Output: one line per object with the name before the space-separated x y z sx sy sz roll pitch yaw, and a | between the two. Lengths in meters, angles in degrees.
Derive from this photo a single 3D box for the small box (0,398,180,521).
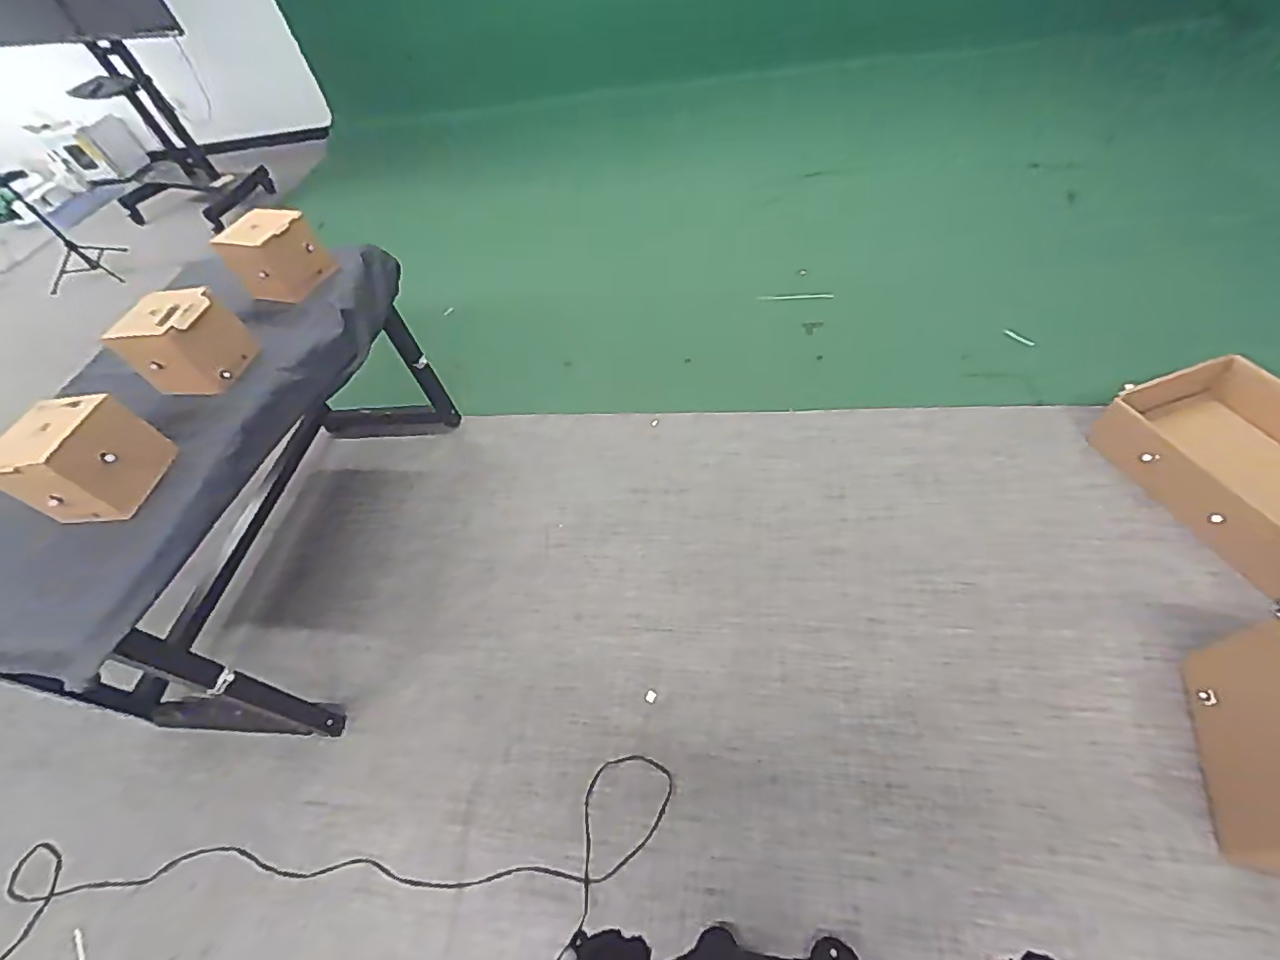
small box | -1.049 -0.031 1.035 0.168 0.176 0.179 -4 53 10

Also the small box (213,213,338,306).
small box | -0.954 -0.582 1.433 0.179 0.176 0.168 10 55 19

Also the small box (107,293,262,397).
small box | -1.026 -0.304 1.238 0.179 0.176 0.168 0 53 12
